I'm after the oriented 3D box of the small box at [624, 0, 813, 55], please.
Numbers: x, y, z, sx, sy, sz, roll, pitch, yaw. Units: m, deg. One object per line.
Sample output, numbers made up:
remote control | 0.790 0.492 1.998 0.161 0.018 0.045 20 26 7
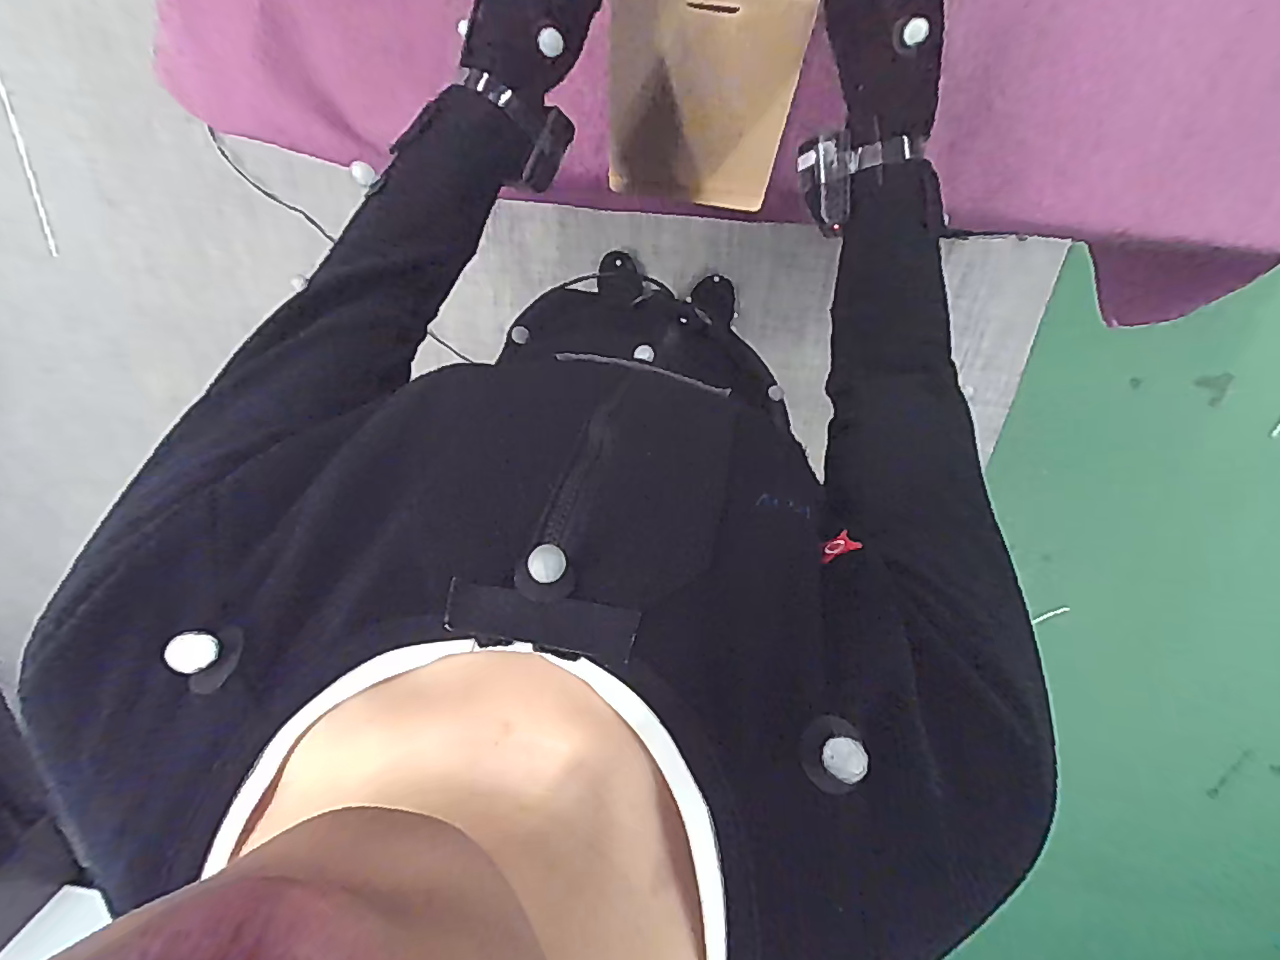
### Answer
small box | 0.075 -0.483 0.442 0.168 0.176 0.179 8 113 1
